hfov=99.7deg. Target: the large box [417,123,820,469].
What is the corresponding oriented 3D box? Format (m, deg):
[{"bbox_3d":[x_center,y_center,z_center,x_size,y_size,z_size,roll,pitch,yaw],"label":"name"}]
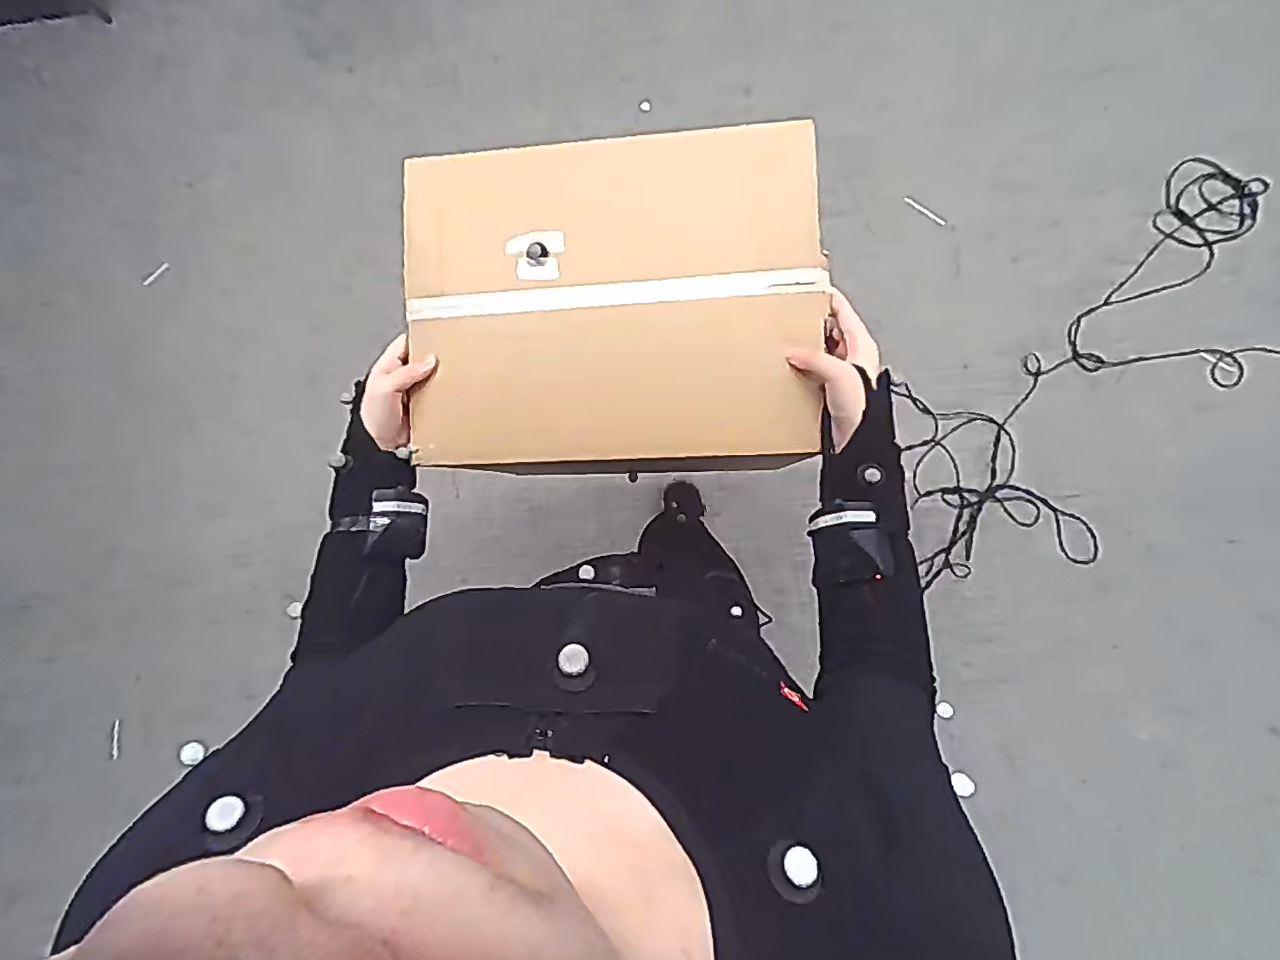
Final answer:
[{"bbox_3d":[-0.011,-0.179,0.685,0.408,0.320,0.320,-2,88,8],"label":"large box"}]
